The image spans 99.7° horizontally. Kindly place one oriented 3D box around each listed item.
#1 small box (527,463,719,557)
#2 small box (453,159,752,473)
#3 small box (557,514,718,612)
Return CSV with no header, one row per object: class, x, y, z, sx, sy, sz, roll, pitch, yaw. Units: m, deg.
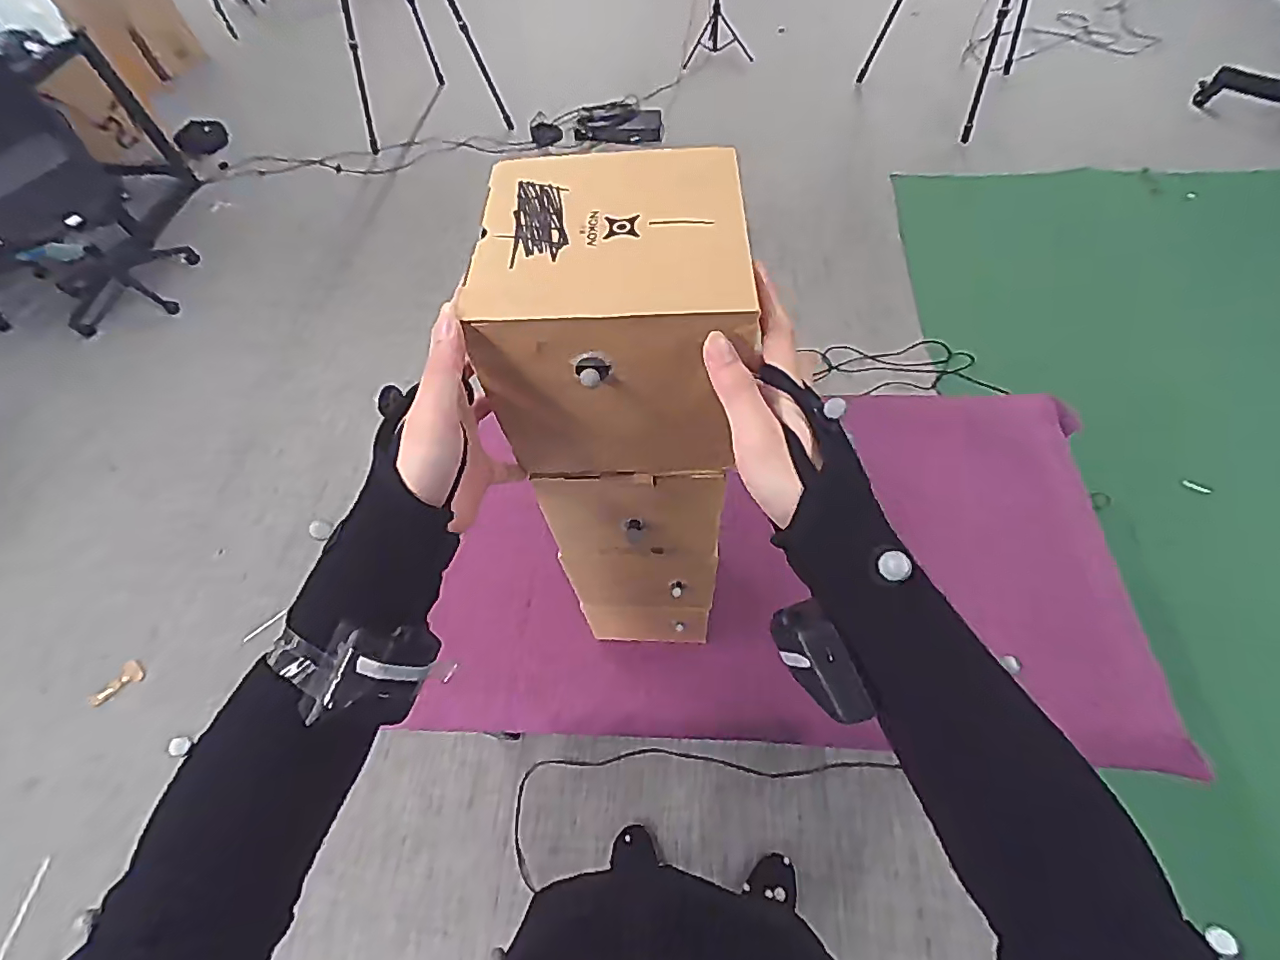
small box,-0.006,-0.029,0.557,0.168,0.176,0.179,0,59,4
small box,-0.016,-0.115,0.416,0.179,0.176,0.168,-1,59,3
small box,0.005,0.062,0.691,0.179,0.176,0.168,0,58,5
